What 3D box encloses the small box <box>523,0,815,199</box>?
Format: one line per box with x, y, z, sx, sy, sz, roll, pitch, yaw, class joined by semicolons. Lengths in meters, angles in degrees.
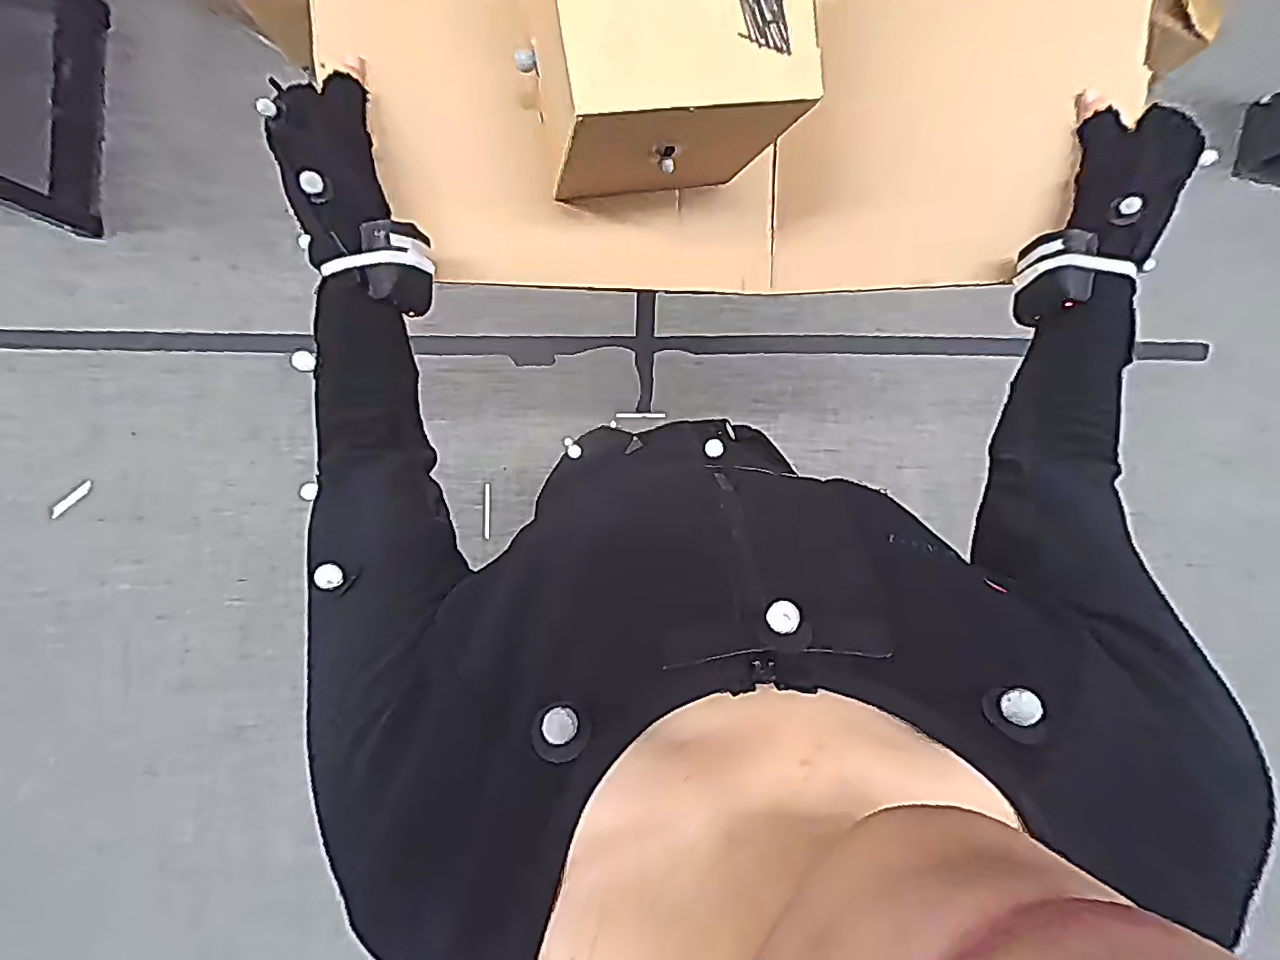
0.011;-0.337;0.424;0.179;0.176;0.168;-11;103;-12;small box
